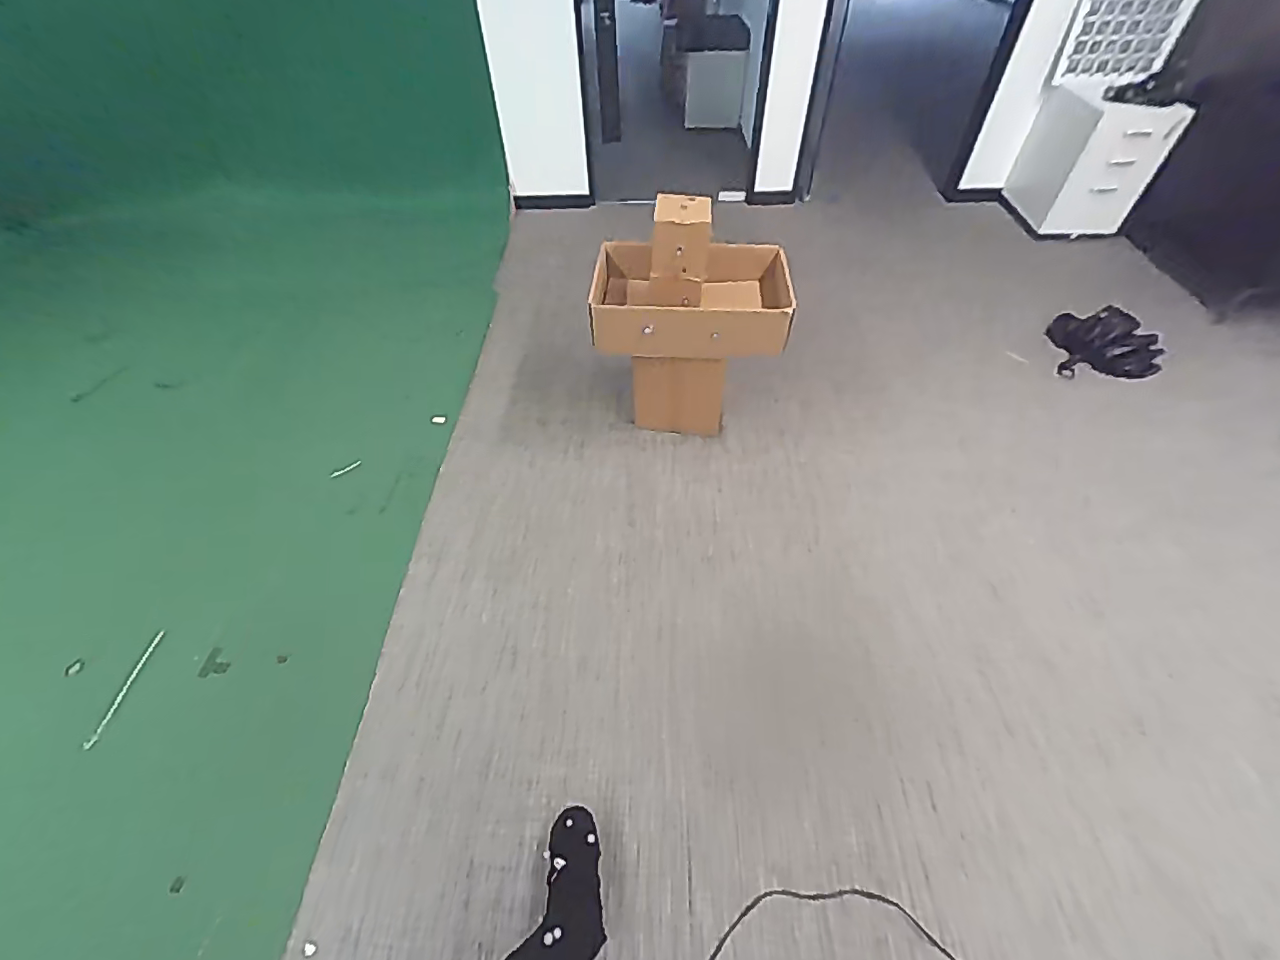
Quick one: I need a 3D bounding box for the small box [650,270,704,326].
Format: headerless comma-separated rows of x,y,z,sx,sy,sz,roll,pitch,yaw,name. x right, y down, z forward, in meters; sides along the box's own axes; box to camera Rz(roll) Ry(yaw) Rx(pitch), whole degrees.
0.123,-0.625,1.771,0.168,0.176,0.179,5,48,2,small box

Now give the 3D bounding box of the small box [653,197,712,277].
0.129,-0.739,1.652,0.168,0.176,0.179,5,51,2,small box
